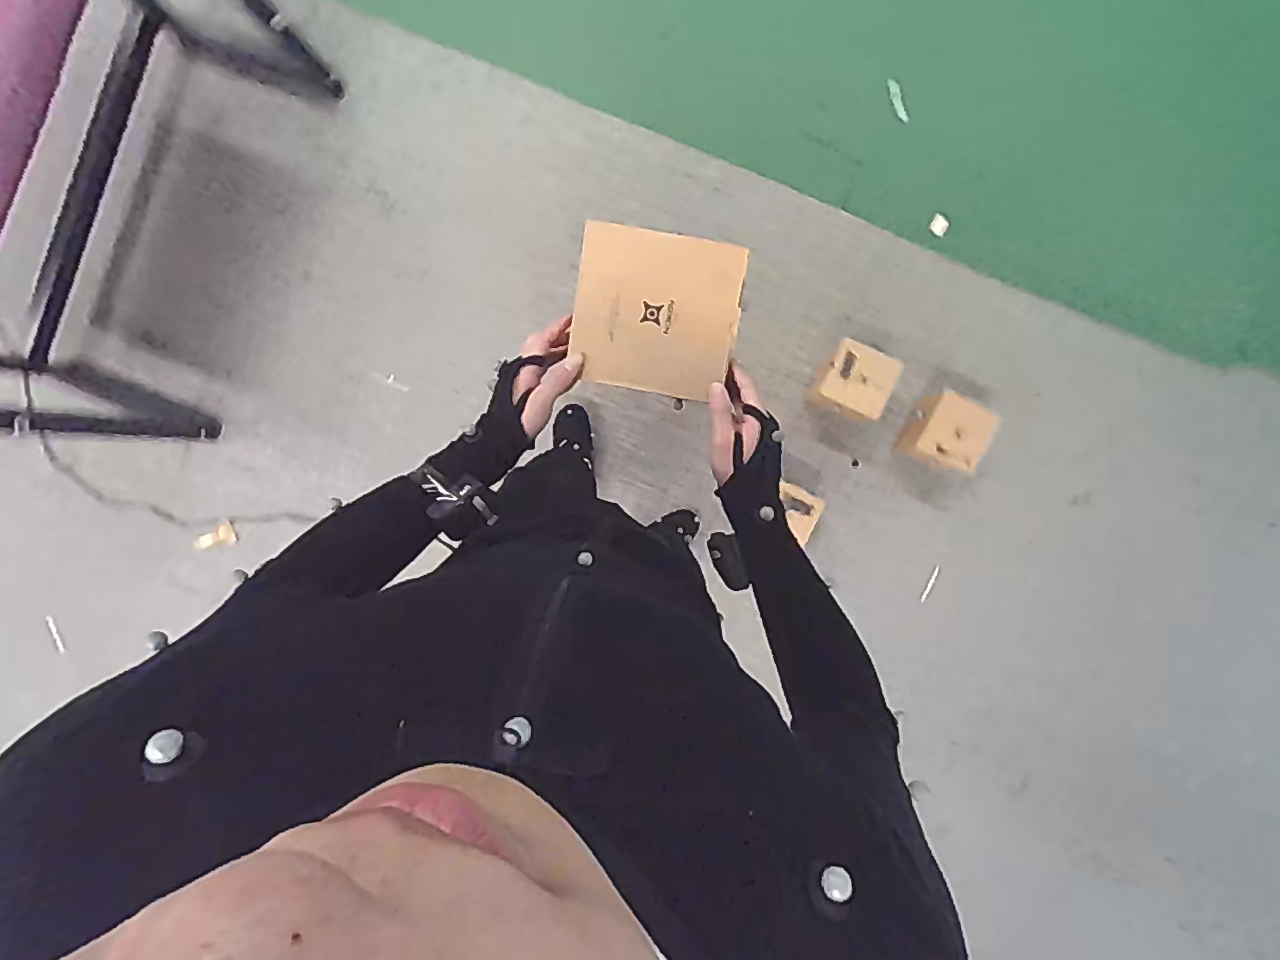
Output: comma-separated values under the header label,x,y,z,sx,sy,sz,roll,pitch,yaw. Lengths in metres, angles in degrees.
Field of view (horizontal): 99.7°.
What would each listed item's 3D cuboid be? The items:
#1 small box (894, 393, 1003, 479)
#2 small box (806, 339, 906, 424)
label,x,y,z,sx,sy,sz,roll,pitch,yaw
small box,0.837,-0.117,1.488,0.168,0.176,0.179,28,93,2
small box,0.587,-0.263,1.497,0.179,0.176,0.168,26,94,1
